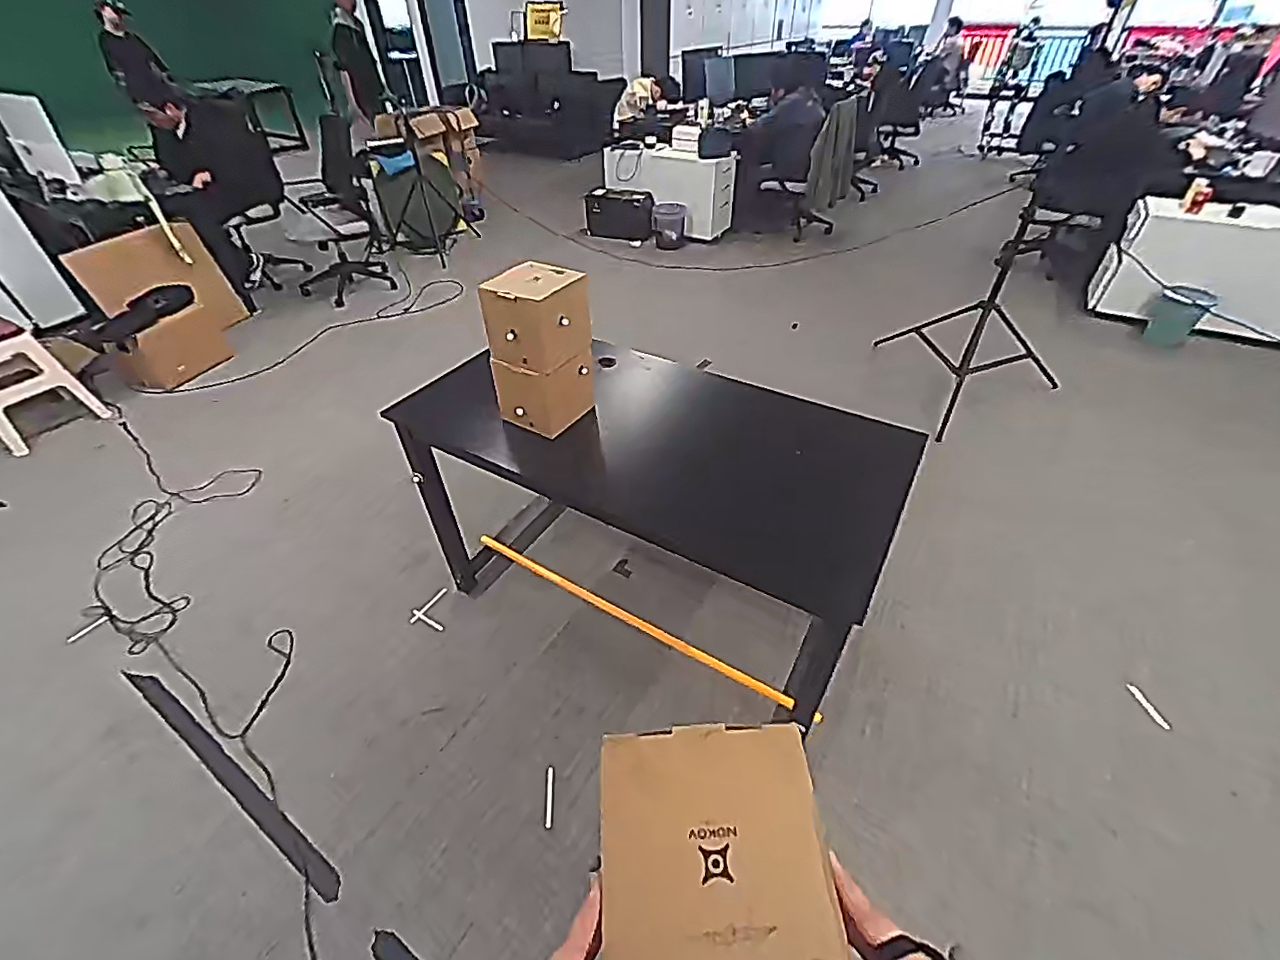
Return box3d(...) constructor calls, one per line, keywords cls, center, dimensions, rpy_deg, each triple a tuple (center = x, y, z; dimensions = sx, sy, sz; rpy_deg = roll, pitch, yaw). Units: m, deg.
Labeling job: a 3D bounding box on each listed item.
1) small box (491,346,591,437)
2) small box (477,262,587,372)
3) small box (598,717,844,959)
box3d(cls="small box", center=(-0.231, -0.234, 1.309), dimensions=(0.168, 0.176, 0.179), rpy_deg=(23, 47, 24))
box3d(cls="small box", center=(-0.229, -0.363, 1.207), dimensions=(0.168, 0.176, 0.179), rpy_deg=(21, 46, 22))
box3d(cls="small box", center=(0.050, 0.318, 0.459), dimensions=(0.168, 0.176, 0.179), rpy_deg=(-3, 52, -2))
